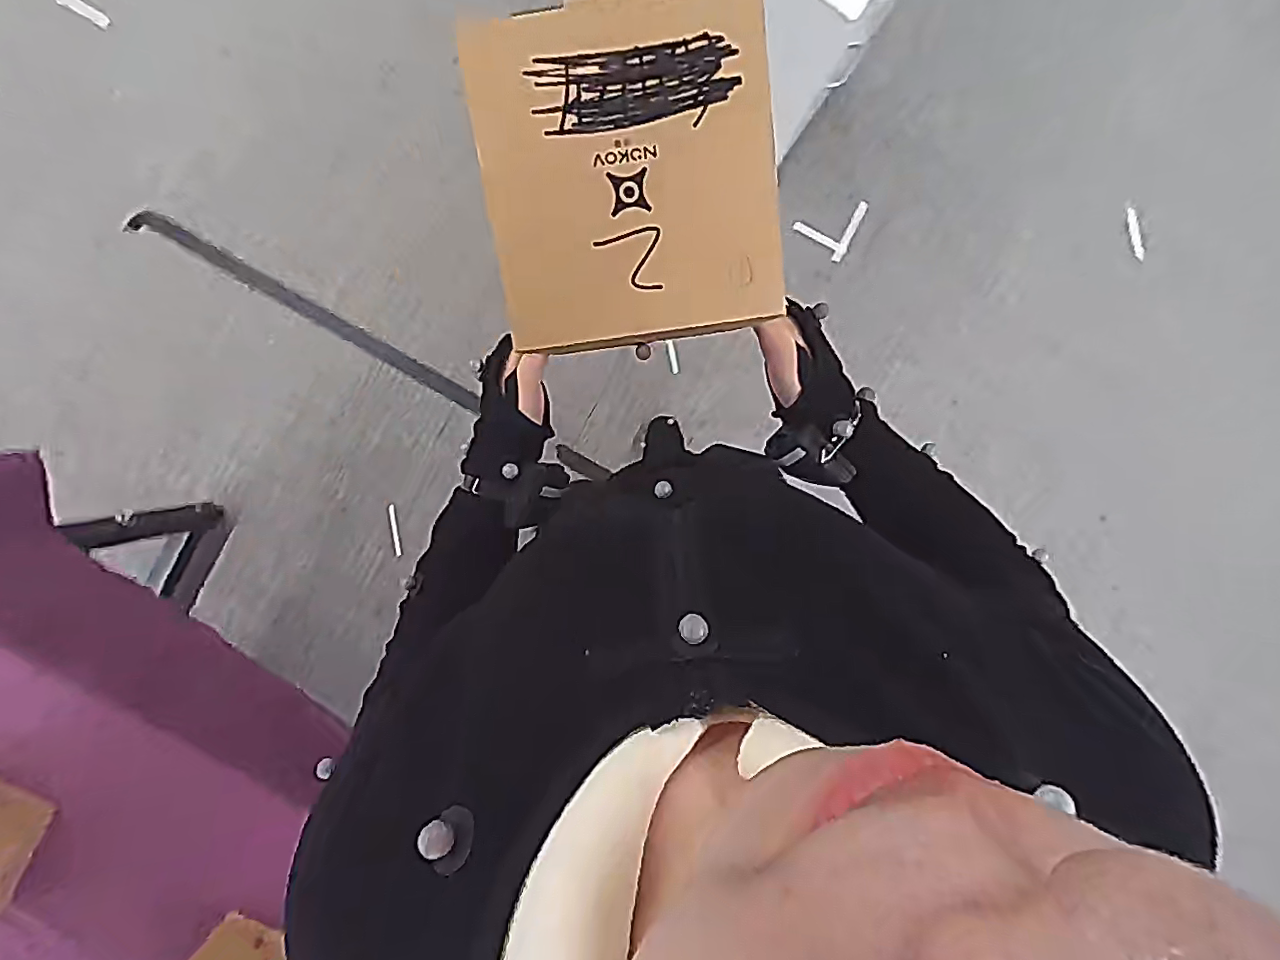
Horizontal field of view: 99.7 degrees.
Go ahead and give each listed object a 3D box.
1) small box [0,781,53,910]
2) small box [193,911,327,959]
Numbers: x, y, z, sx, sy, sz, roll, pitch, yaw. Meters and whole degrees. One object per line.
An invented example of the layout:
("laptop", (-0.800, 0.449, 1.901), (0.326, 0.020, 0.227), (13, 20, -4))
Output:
("small box", (-0.945, 0.512, 0.702), (0.168, 0.176, 0.179), (29, 93, -3))
("small box", (-0.566, 0.752, 0.730), (0.168, 0.176, 0.179), (28, 92, -3))
